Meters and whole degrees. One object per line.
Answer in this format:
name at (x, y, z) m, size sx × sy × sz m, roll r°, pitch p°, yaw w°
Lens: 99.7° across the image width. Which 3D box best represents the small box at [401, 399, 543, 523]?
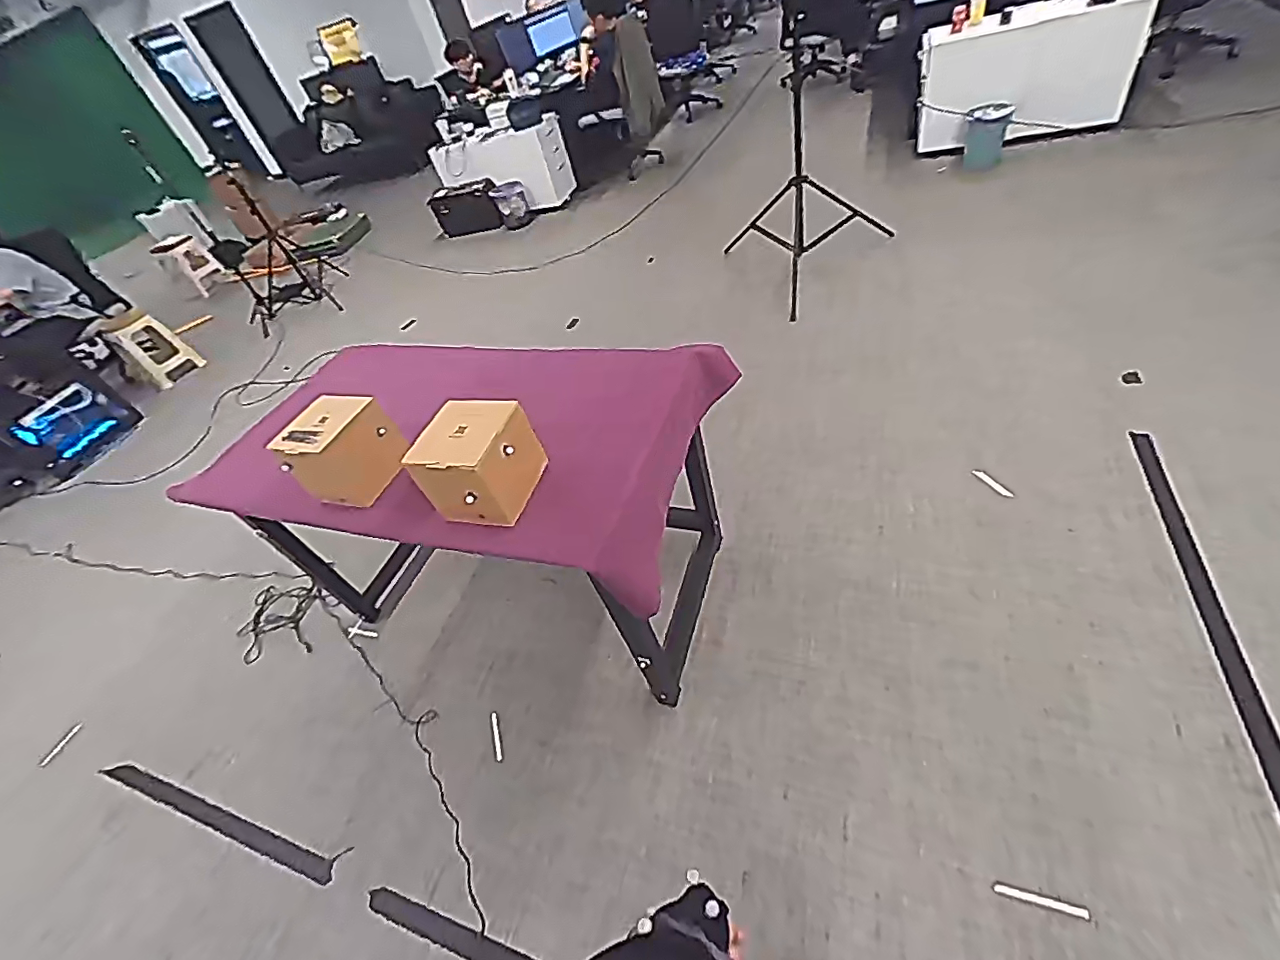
small box at (-0.308, -0.036, 1.037) m, size 0.168 × 0.176 × 0.179 m, roll 4°, pitch 48°, yaw 21°
